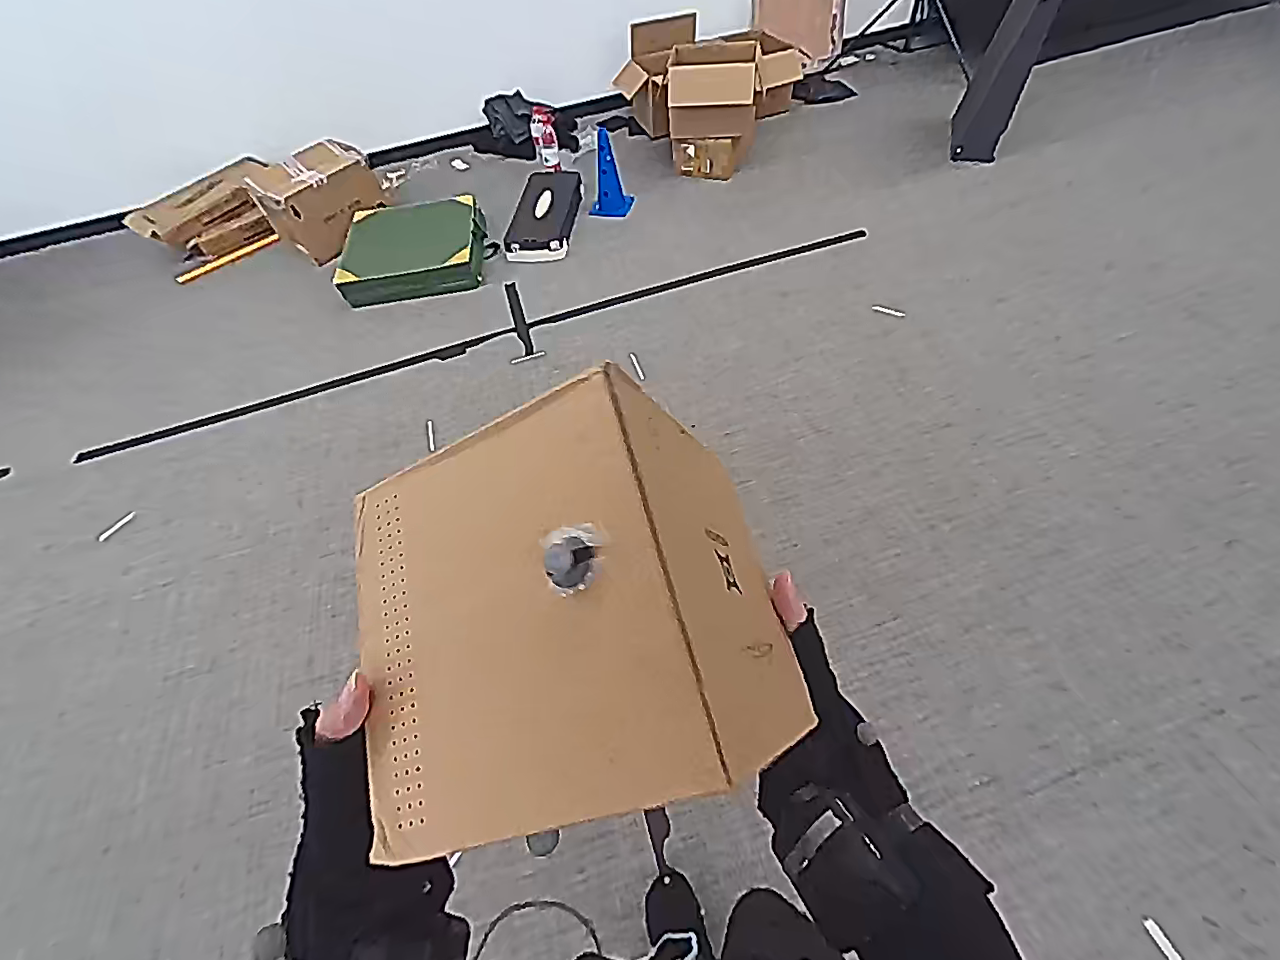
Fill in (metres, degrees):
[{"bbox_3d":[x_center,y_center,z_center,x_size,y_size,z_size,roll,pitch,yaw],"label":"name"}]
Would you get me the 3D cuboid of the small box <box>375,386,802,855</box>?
[{"bbox_3d":[-0.029,0.083,0.314,0.176,0.168,0.179,-24,65,19],"label":"small box"}]
